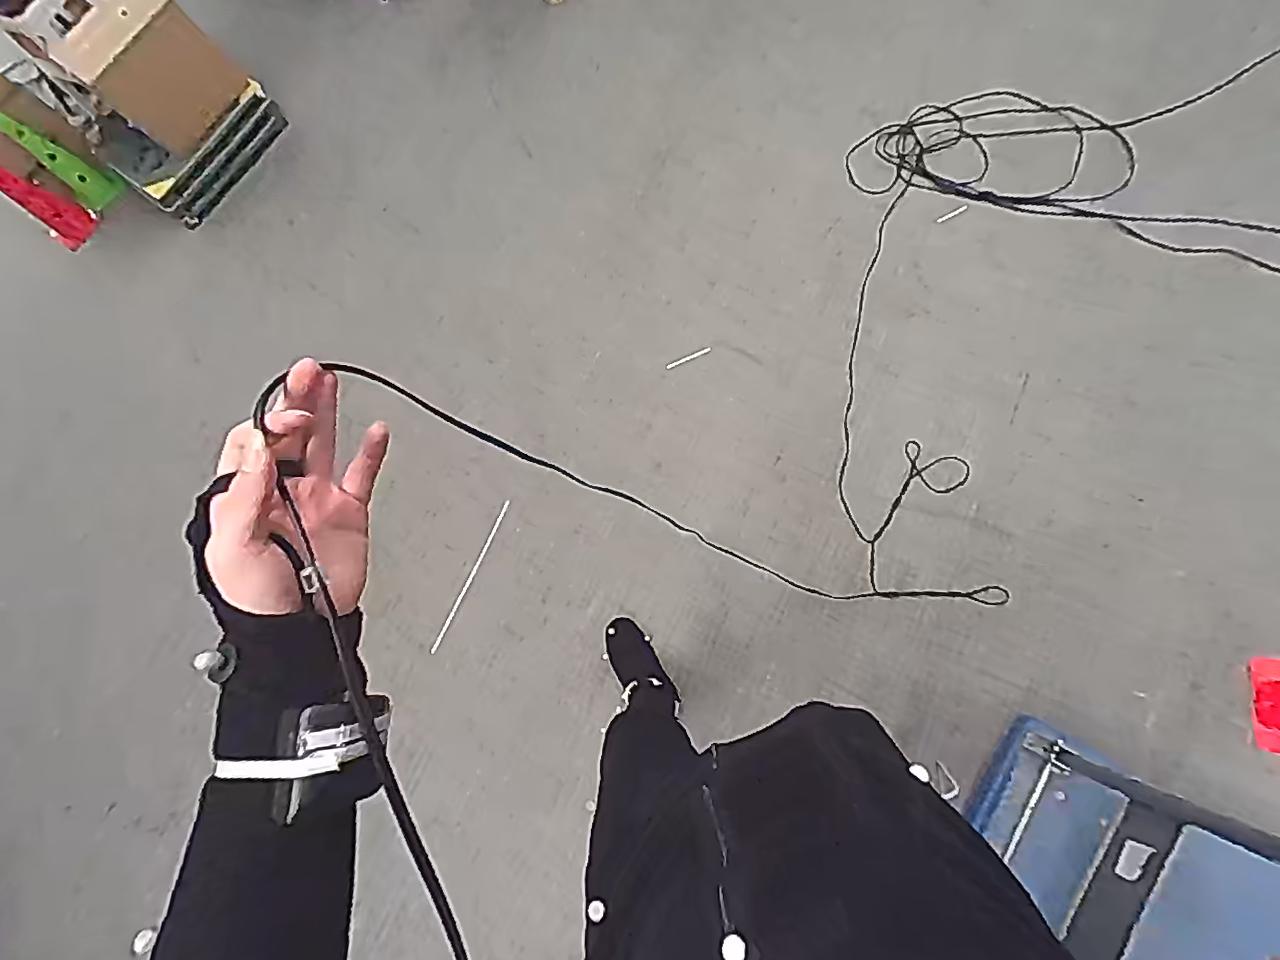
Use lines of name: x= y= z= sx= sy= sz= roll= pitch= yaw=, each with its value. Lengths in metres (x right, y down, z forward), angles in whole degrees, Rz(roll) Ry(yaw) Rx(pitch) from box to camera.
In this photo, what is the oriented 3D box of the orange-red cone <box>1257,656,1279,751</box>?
orange-red cone: x=1.413 y=0.448 z=0.993 sx=0.198 sy=0.360 sz=0.199 roll=9 pitch=76 yaw=12
